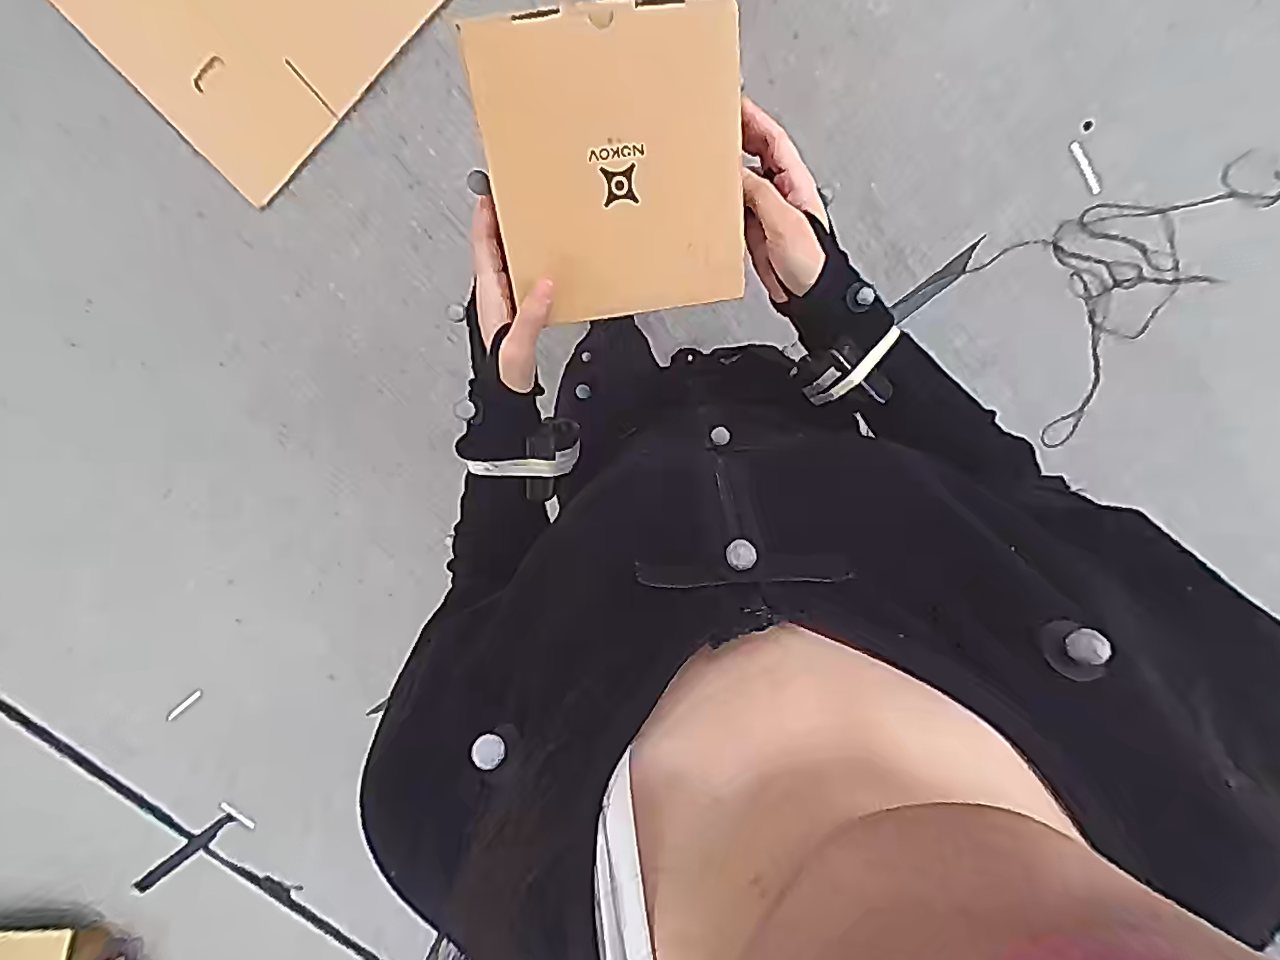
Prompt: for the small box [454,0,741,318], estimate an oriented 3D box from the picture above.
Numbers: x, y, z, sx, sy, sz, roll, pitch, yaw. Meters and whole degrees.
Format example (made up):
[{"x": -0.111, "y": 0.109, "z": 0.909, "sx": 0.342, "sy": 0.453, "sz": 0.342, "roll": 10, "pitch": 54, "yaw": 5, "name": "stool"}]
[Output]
[{"x": -0.026, "y": -0.236, "z": 0.416, "sx": 0.168, "sy": 0.176, "sz": 0.179, "roll": -9, "pitch": 116, "yaw": -4, "name": "small box"}]
